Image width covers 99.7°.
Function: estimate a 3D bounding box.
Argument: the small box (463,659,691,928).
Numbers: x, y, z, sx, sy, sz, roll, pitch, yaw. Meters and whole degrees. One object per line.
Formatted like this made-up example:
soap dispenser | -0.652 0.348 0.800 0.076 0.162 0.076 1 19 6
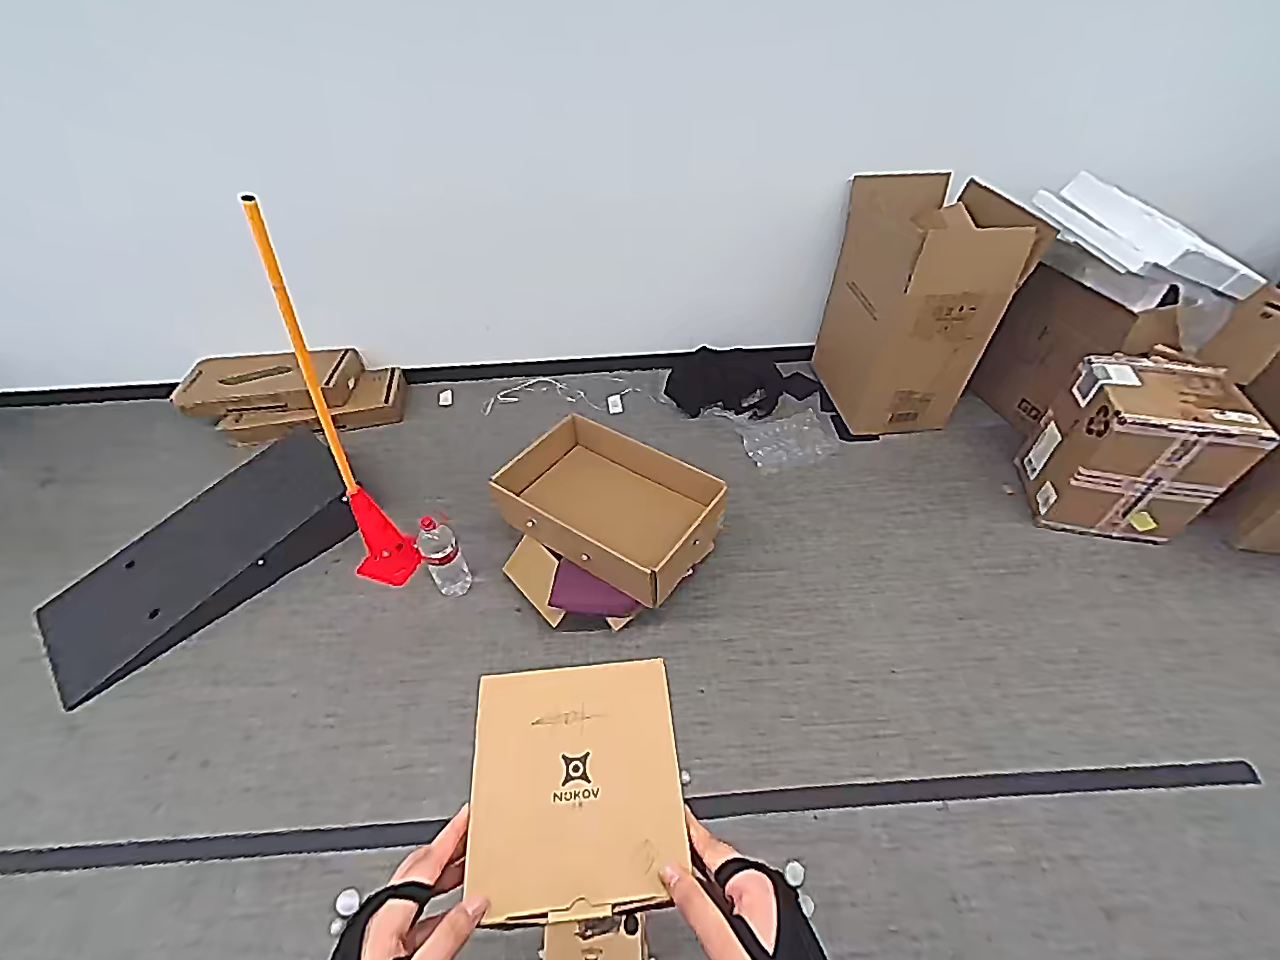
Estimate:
small box | -0.053 0.285 0.494 0.168 0.176 0.179 -4 50 -6
